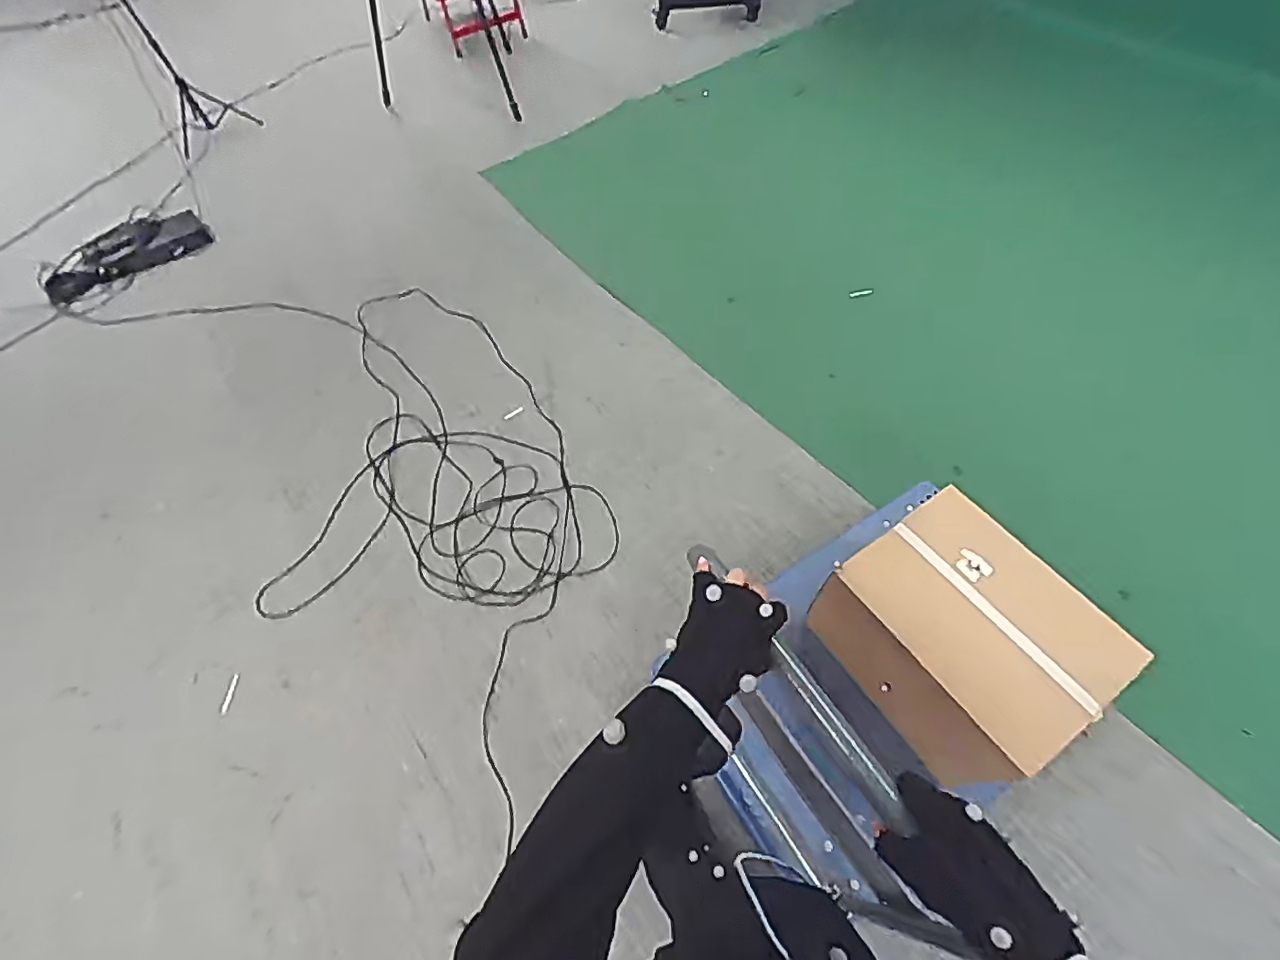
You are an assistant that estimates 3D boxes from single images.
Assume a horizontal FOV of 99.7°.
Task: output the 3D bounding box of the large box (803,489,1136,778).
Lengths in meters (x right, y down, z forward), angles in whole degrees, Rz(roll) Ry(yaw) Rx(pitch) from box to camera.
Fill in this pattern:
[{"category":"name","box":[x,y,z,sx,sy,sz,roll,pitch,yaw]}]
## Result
[{"category":"large box","box":[0.595,0.304,1.067,0.320,0.320,0.408,-31,61,-15]}]
